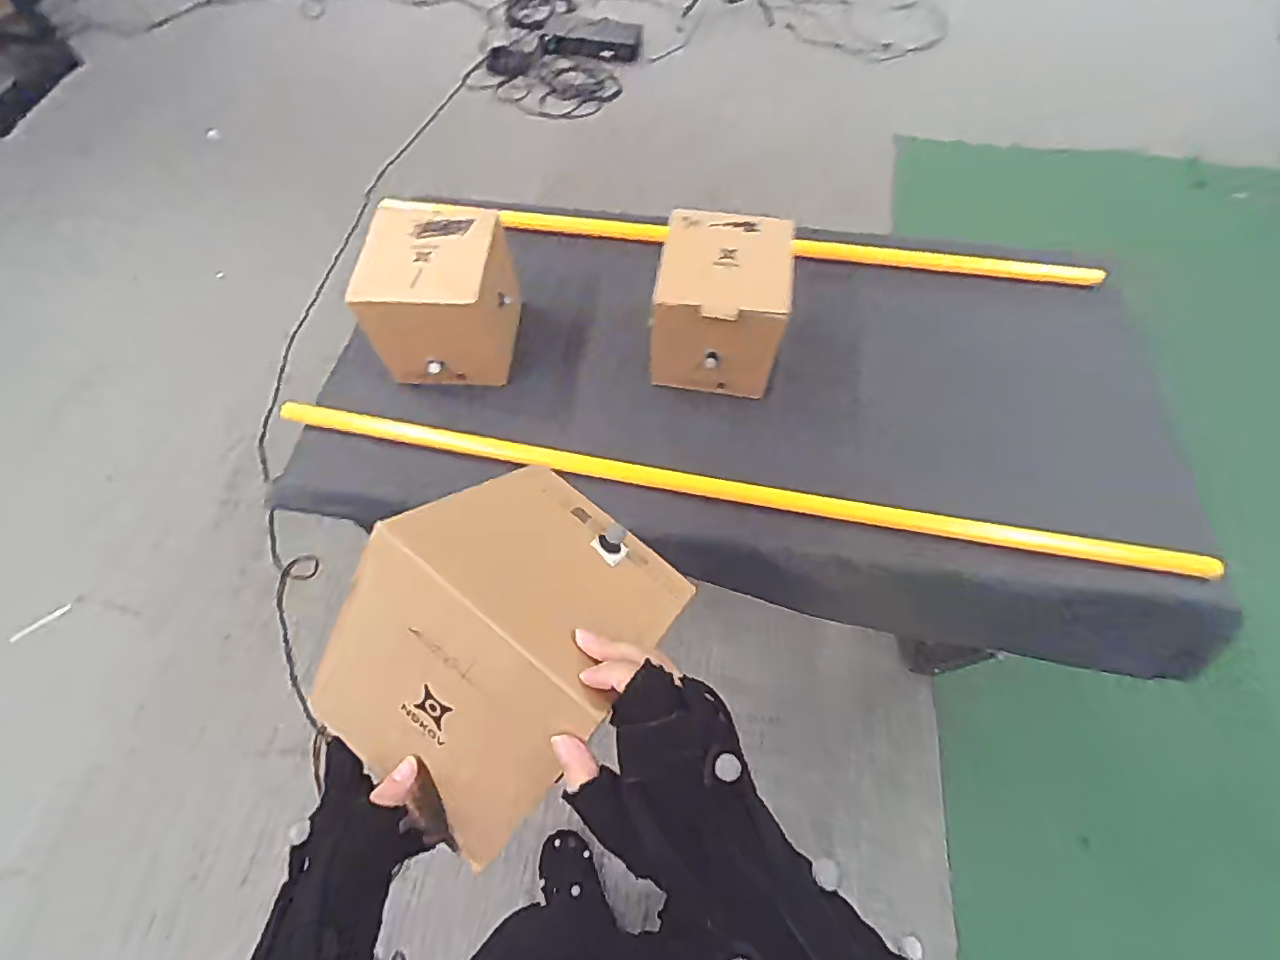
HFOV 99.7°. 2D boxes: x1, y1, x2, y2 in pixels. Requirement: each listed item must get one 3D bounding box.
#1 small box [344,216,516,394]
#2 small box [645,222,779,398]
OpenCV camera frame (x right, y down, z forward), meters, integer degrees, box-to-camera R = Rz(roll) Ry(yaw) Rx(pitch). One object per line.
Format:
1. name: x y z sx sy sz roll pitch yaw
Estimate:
1. small box: -0.282 -0.246 0.773 0.168 0.176 0.179 2 63 1
2. small box: 0.100 -0.235 0.768 0.168 0.176 0.179 5 62 5
